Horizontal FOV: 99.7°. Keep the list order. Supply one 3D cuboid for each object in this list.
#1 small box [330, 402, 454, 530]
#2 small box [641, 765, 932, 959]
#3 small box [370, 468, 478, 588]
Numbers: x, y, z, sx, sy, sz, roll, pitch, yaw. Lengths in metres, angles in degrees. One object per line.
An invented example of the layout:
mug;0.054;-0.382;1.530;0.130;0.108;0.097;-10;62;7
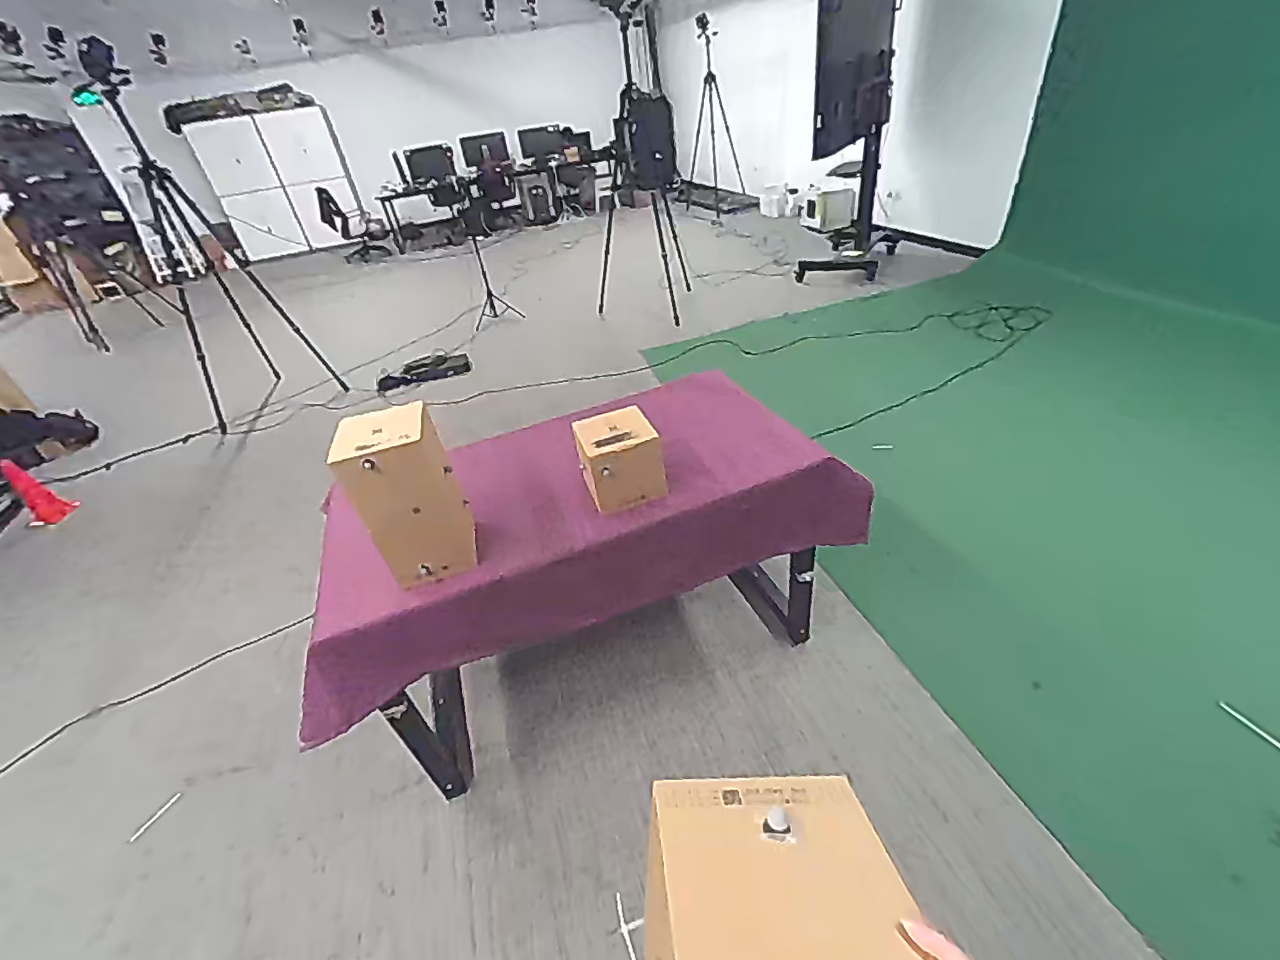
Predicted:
small box;-0.483;-0.029;1.082;0.168;0.176;0.179;-17;35;-8
small box;0.090;0.347;0.403;0.168;0.179;0.176;1;14;-5
small box;-0.460;0.103;1.179;0.168;0.176;0.179;-16;37;-8
